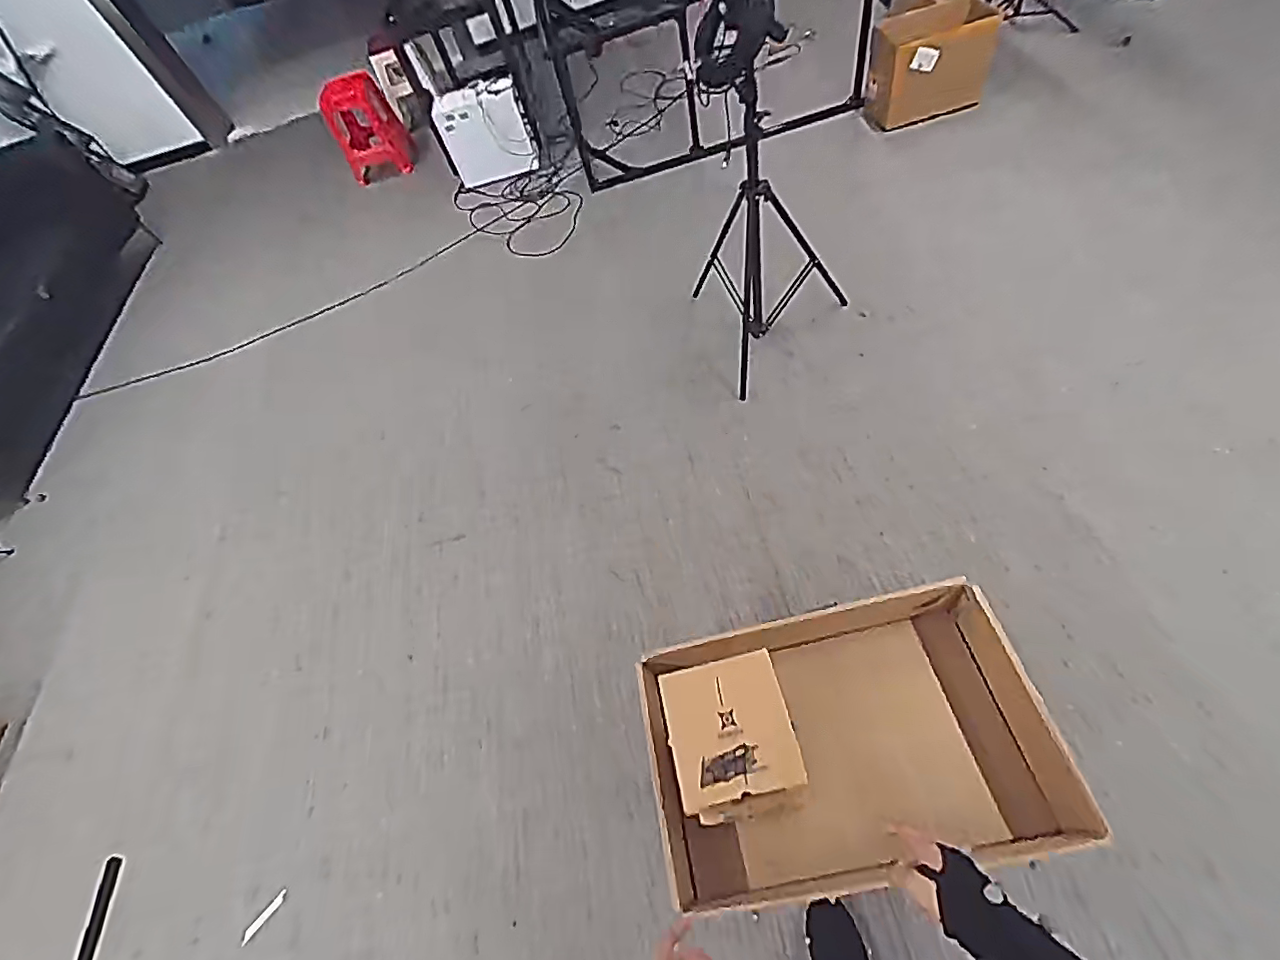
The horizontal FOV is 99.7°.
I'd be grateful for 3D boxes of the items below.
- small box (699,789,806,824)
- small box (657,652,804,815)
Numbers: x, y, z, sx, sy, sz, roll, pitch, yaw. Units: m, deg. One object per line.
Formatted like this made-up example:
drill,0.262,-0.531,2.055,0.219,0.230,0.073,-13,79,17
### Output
small box,0.172,0.471,0.921,0.168,0.176,0.179,-17,56,5
small box,0.134,0.375,0.793,0.168,0.176,0.179,-16,56,5
